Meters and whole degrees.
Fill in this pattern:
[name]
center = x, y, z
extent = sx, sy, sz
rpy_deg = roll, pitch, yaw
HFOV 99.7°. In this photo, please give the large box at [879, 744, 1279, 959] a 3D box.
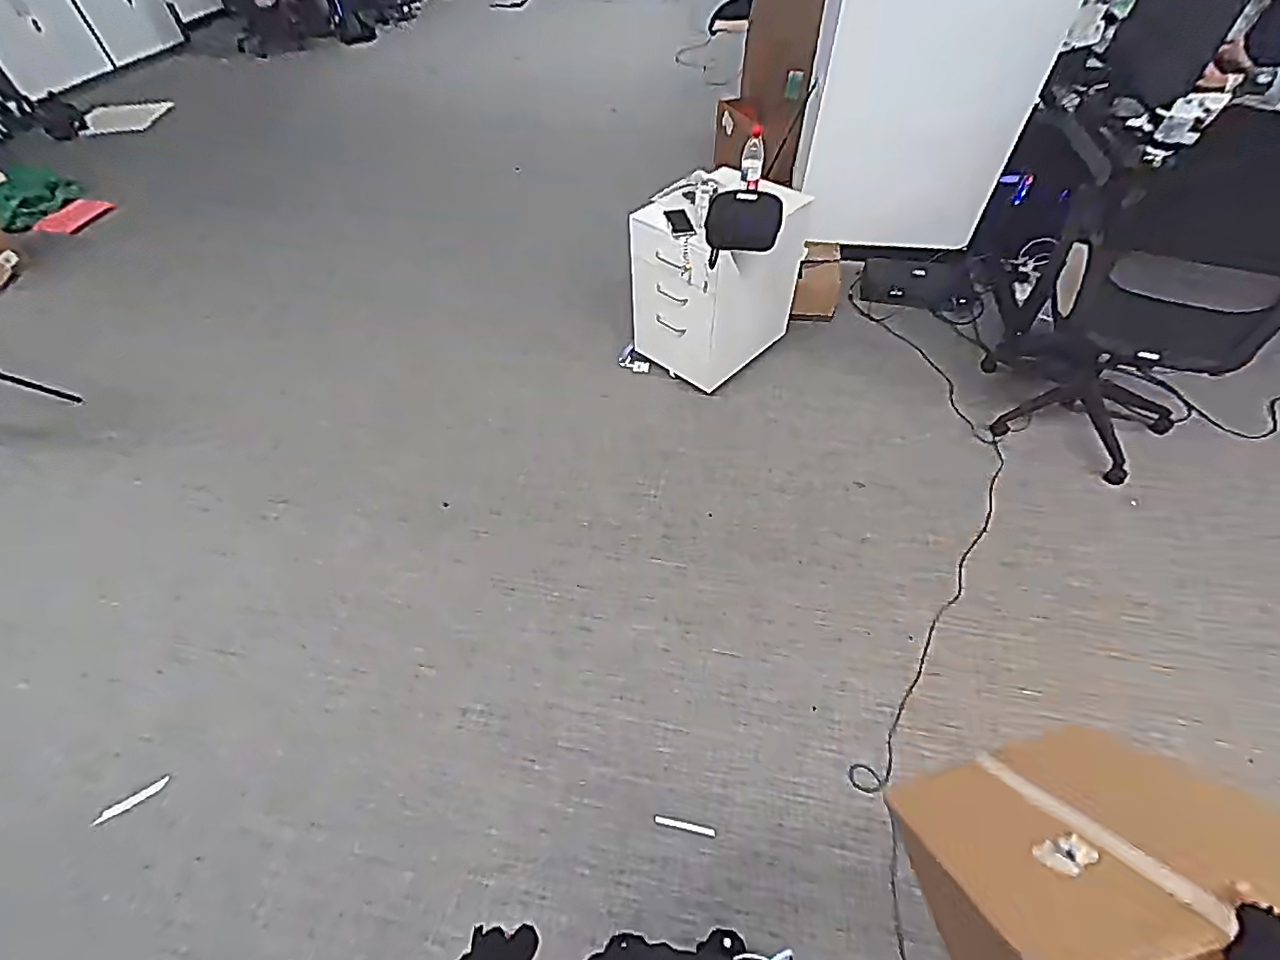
[large box]
center = 0.539, 0.555, 0.602
extent = 0.320, 0.408, 0.320
rpy_deg = -20, 79, 1
